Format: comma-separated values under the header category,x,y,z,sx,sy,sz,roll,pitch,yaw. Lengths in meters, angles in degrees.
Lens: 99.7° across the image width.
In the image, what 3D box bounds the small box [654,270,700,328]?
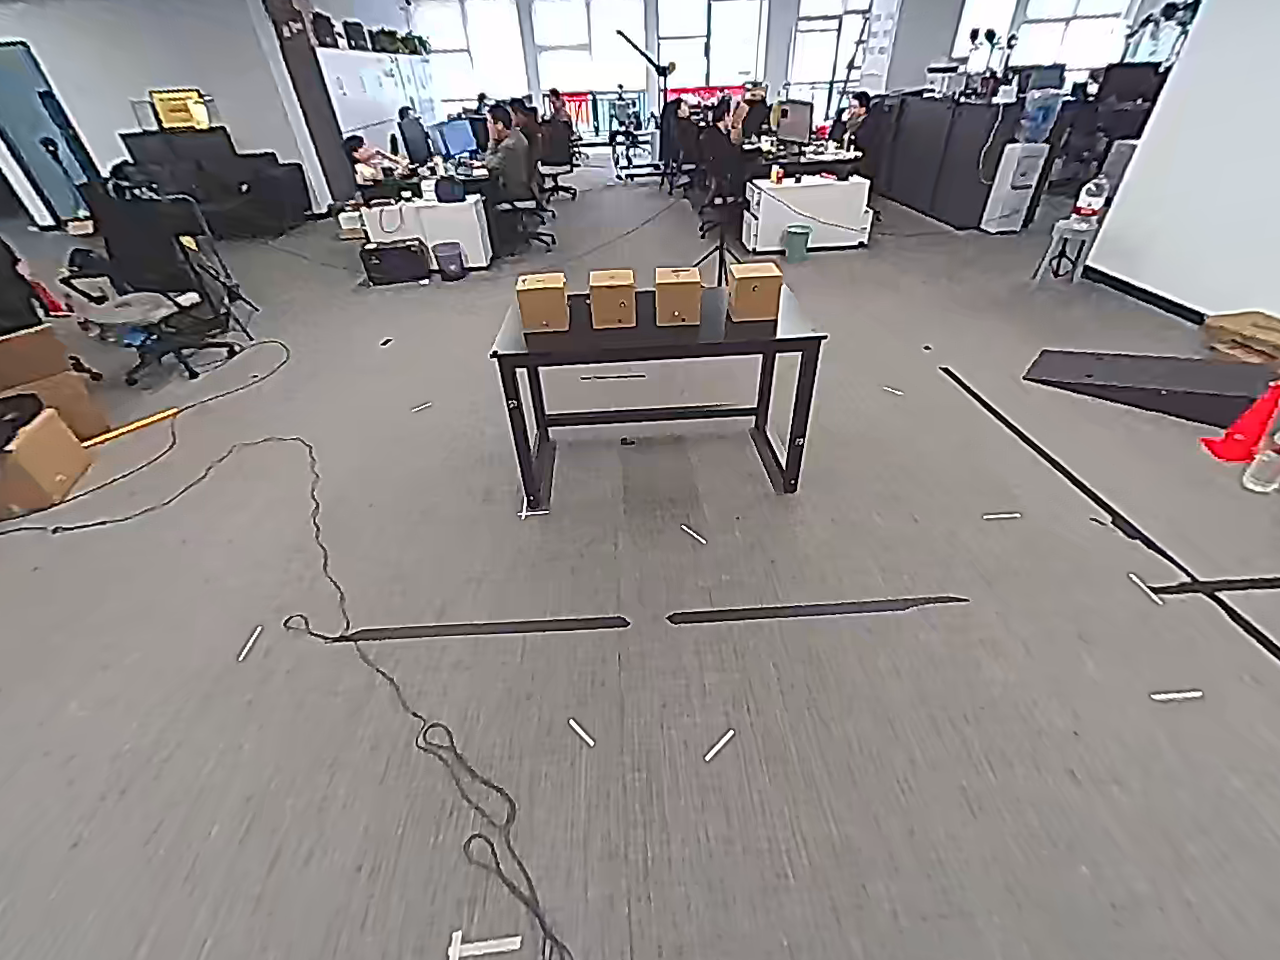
category,x,y,z,sx,sy,sz,roll,pitch,yaw
small box,0.139,-0.699,2.086,0.168,0.176,0.179,-1,38,2

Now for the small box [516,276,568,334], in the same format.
category,x,y,z,sx,sy,sz,roll,pitch,yaw
small box,-0.371,-0.671,2.078,0.179,0.176,0.168,-4,37,-3

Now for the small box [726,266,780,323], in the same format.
category,x,y,z,sx,sy,sz,roll,pitch,yaw
small box,0.431,-0.715,2.090,0.179,0.176,0.168,-3,37,0

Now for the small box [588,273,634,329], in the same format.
category,x,y,z,sx,sy,sz,roll,pitch,yaw
small box,-0.110,-0.690,2.093,0.168,0.176,0.179,-3,36,-2
